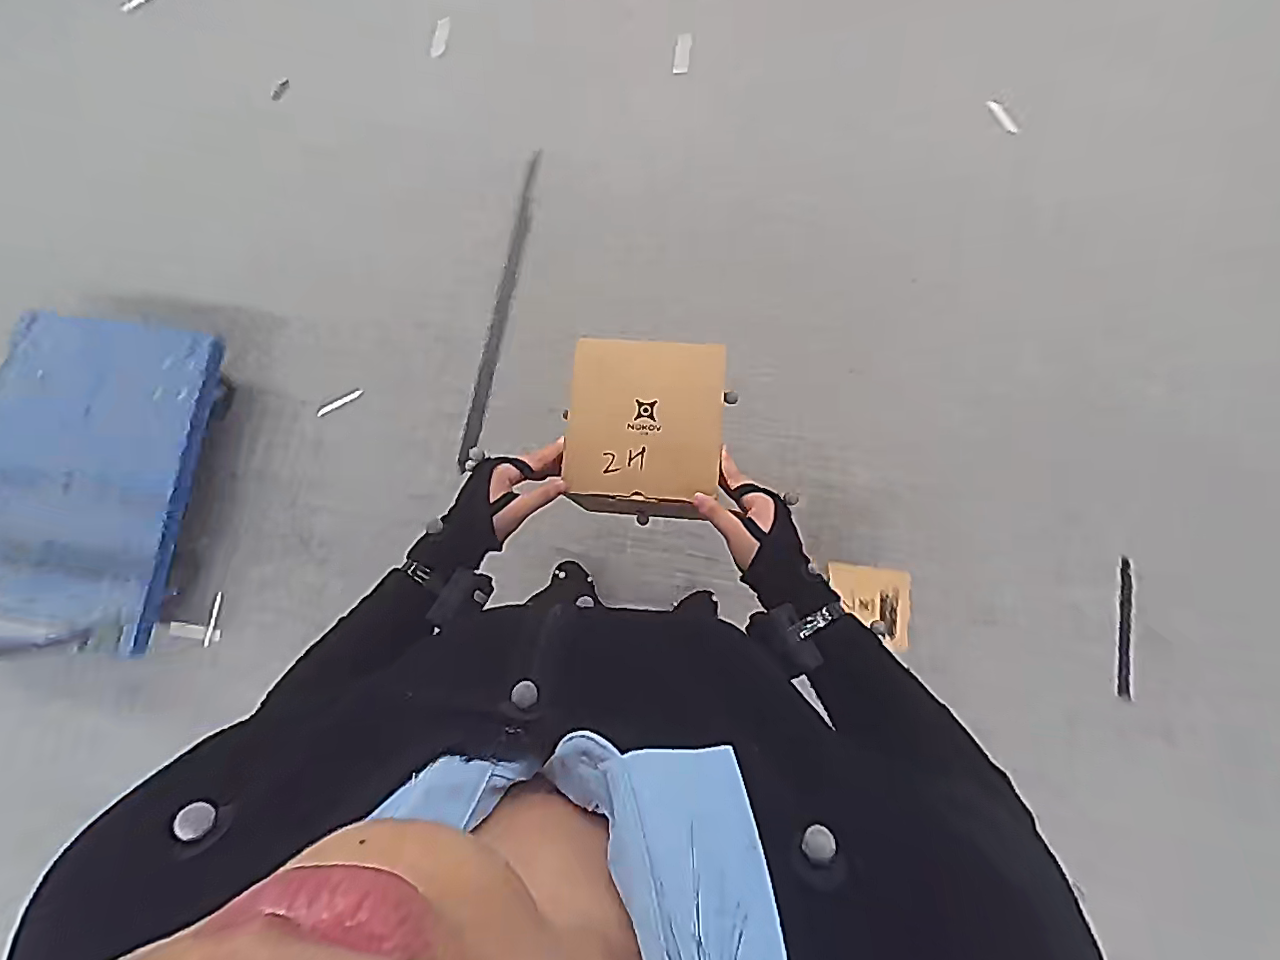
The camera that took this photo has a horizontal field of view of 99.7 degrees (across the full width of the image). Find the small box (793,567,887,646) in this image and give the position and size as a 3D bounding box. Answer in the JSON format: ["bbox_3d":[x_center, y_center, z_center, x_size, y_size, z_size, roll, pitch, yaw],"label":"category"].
[{"bbox_3d":[0.505,0.317,1.382,0.179,0.176,0.168,8,81,4],"label":"small box"}]

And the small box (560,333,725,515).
[{"bbox_3d":[0.008,-0.057,0.642,0.168,0.176,0.179,3,82,5],"label":"small box"}]
